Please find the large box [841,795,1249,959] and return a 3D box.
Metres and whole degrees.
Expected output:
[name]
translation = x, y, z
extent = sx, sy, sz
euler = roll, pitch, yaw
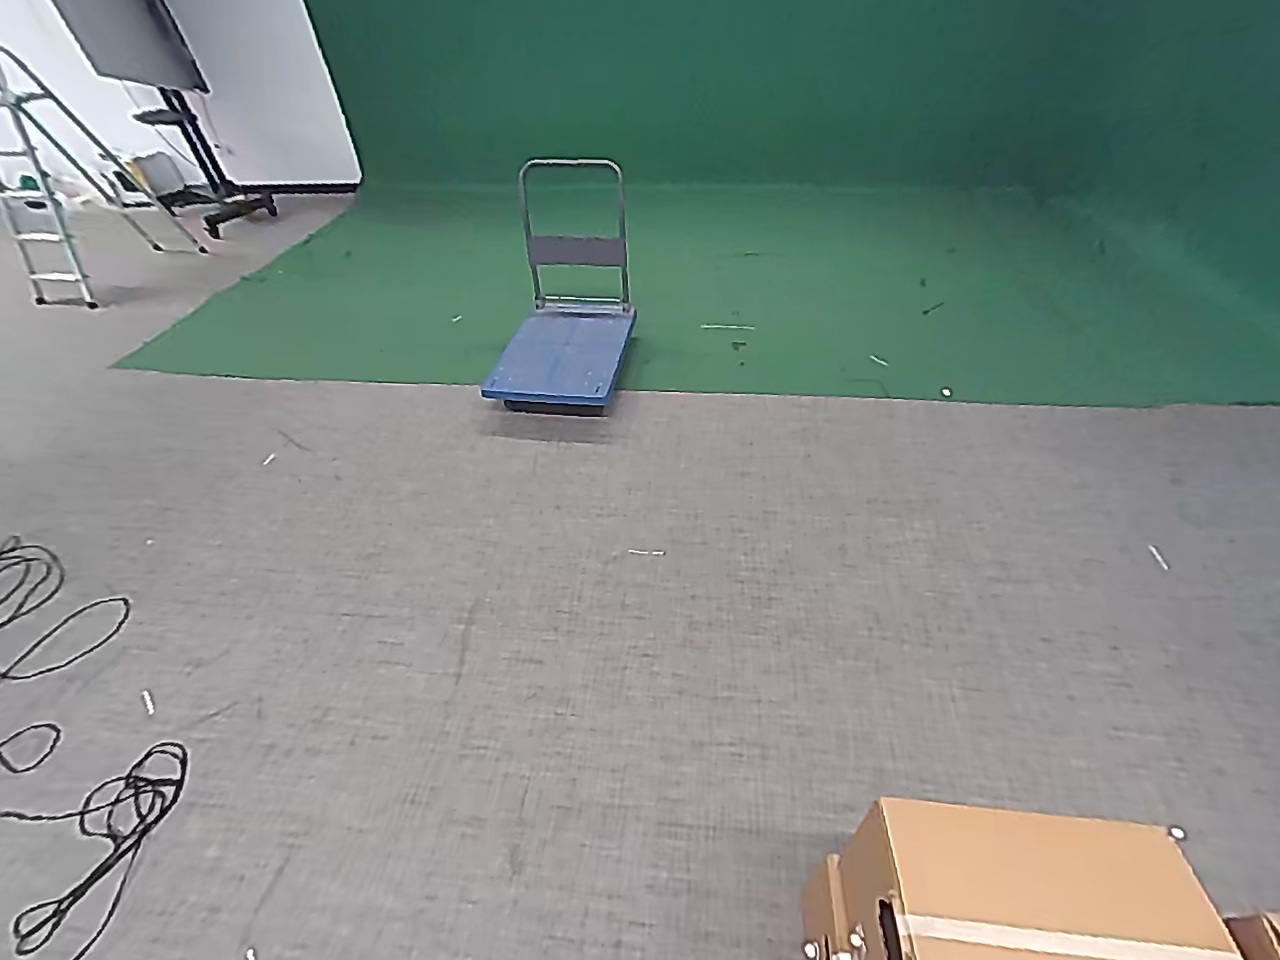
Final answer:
[large box]
translation = 0.545, 0.693, 0.767
extent = 0.408, 0.320, 0.320
euler = 3, 40, 6
